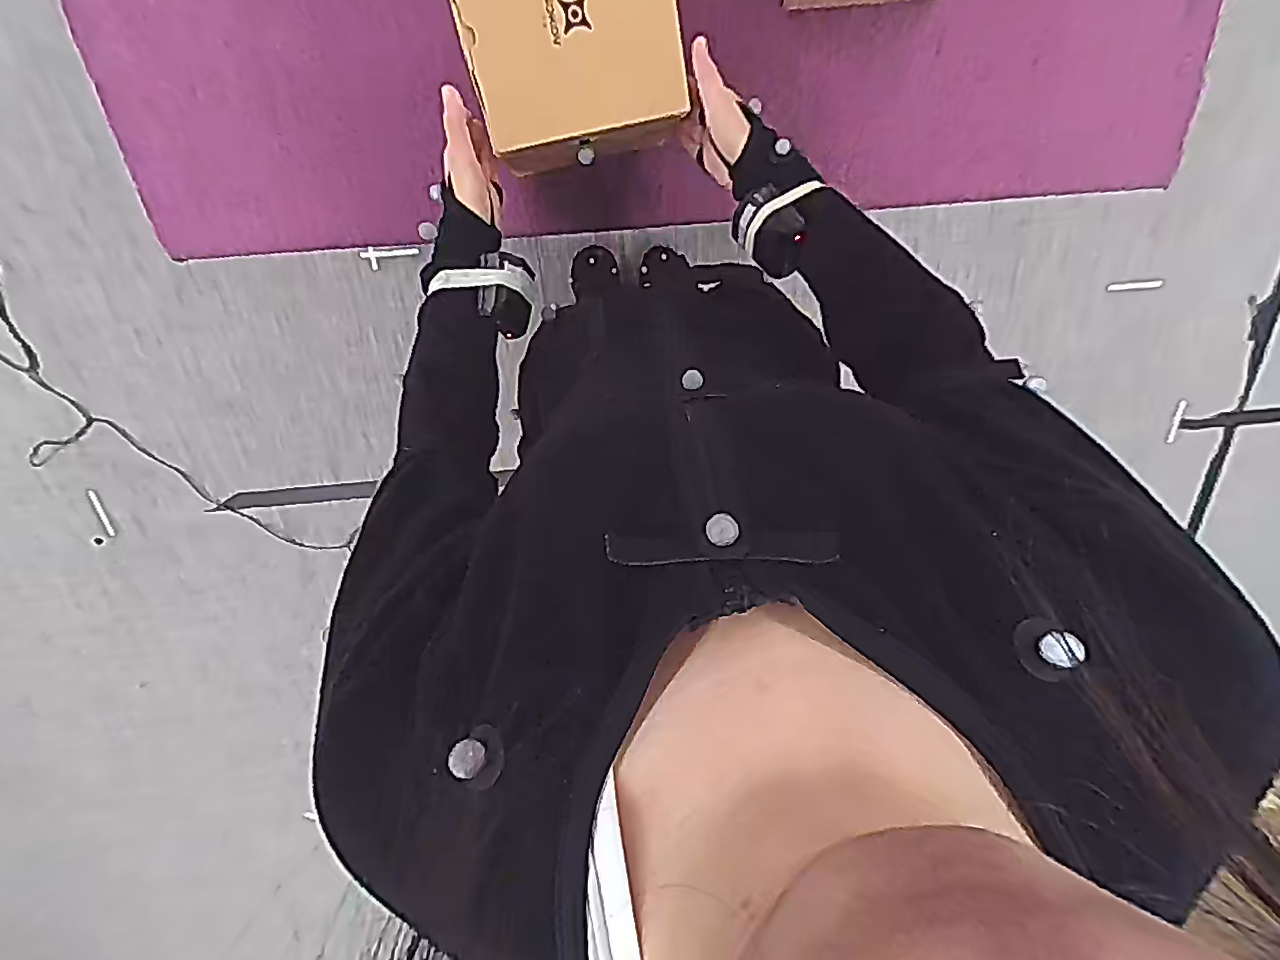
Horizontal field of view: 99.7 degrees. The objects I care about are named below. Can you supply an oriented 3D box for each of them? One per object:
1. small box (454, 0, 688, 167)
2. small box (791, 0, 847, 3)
[{"bbox_3d":[-0.064,-0.407,0.503,0.179,0.176,0.168,-12,115,1],"label":"small box"},{"bbox_3d":[0.237,-0.553,0.468,0.179,0.176,0.168,-7,113,-2],"label":"small box"}]
